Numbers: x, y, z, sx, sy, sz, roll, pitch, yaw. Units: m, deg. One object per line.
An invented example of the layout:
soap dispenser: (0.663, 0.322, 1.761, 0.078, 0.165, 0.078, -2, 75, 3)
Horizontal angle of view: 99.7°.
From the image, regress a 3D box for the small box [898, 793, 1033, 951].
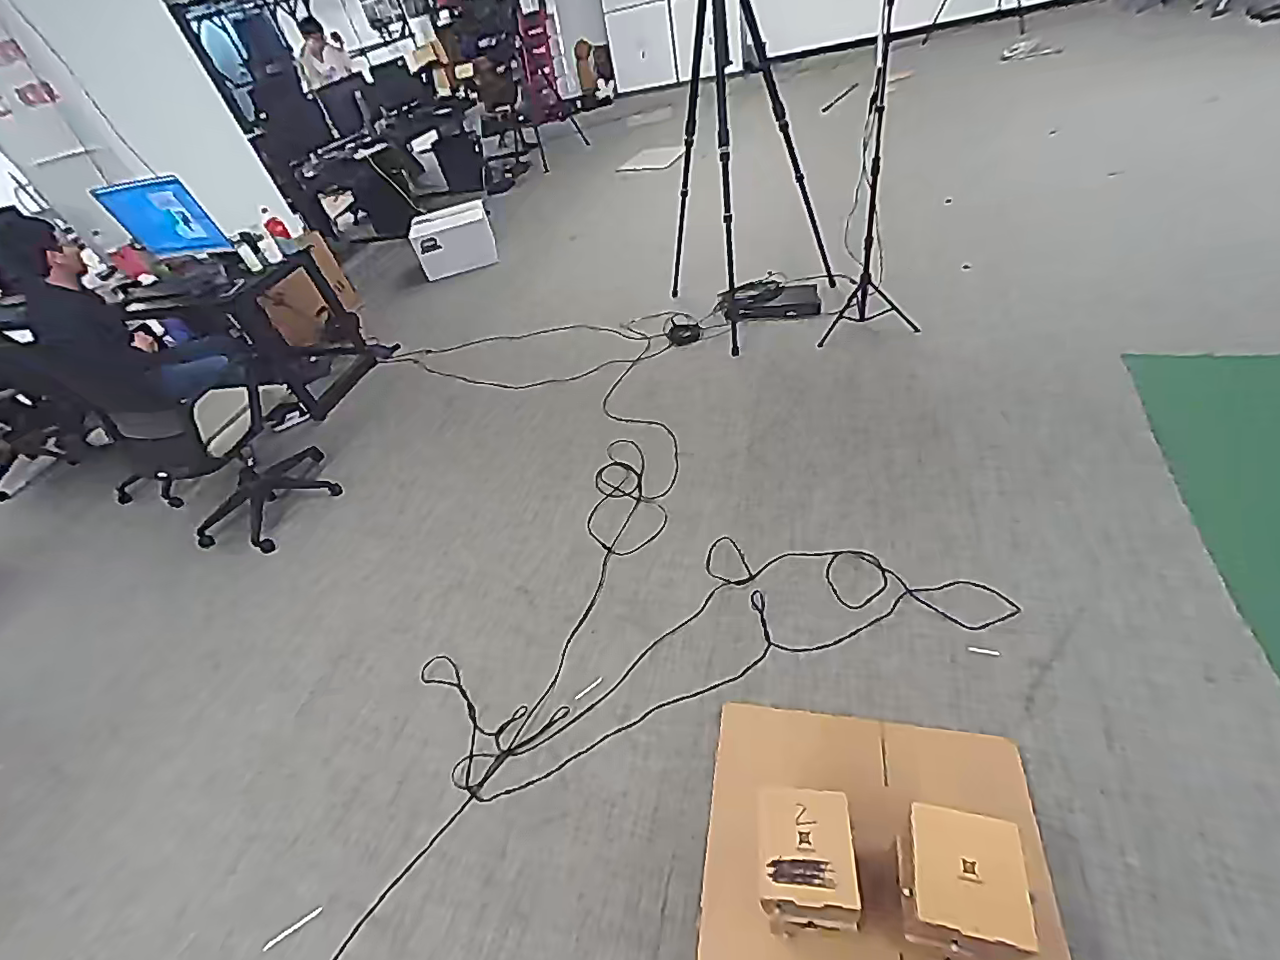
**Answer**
small box: (0.553, 0.684, 0.946, 0.168, 0.176, 0.179, 3, 48, 19)

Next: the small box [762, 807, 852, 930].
small box: (0.341, 0.805, 1.119, 0.168, 0.176, 0.179, -3, 45, 14)

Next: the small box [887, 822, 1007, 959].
small box: (0.584, 0.802, 1.055, 0.168, 0.176, 0.179, -1, 47, 18)
